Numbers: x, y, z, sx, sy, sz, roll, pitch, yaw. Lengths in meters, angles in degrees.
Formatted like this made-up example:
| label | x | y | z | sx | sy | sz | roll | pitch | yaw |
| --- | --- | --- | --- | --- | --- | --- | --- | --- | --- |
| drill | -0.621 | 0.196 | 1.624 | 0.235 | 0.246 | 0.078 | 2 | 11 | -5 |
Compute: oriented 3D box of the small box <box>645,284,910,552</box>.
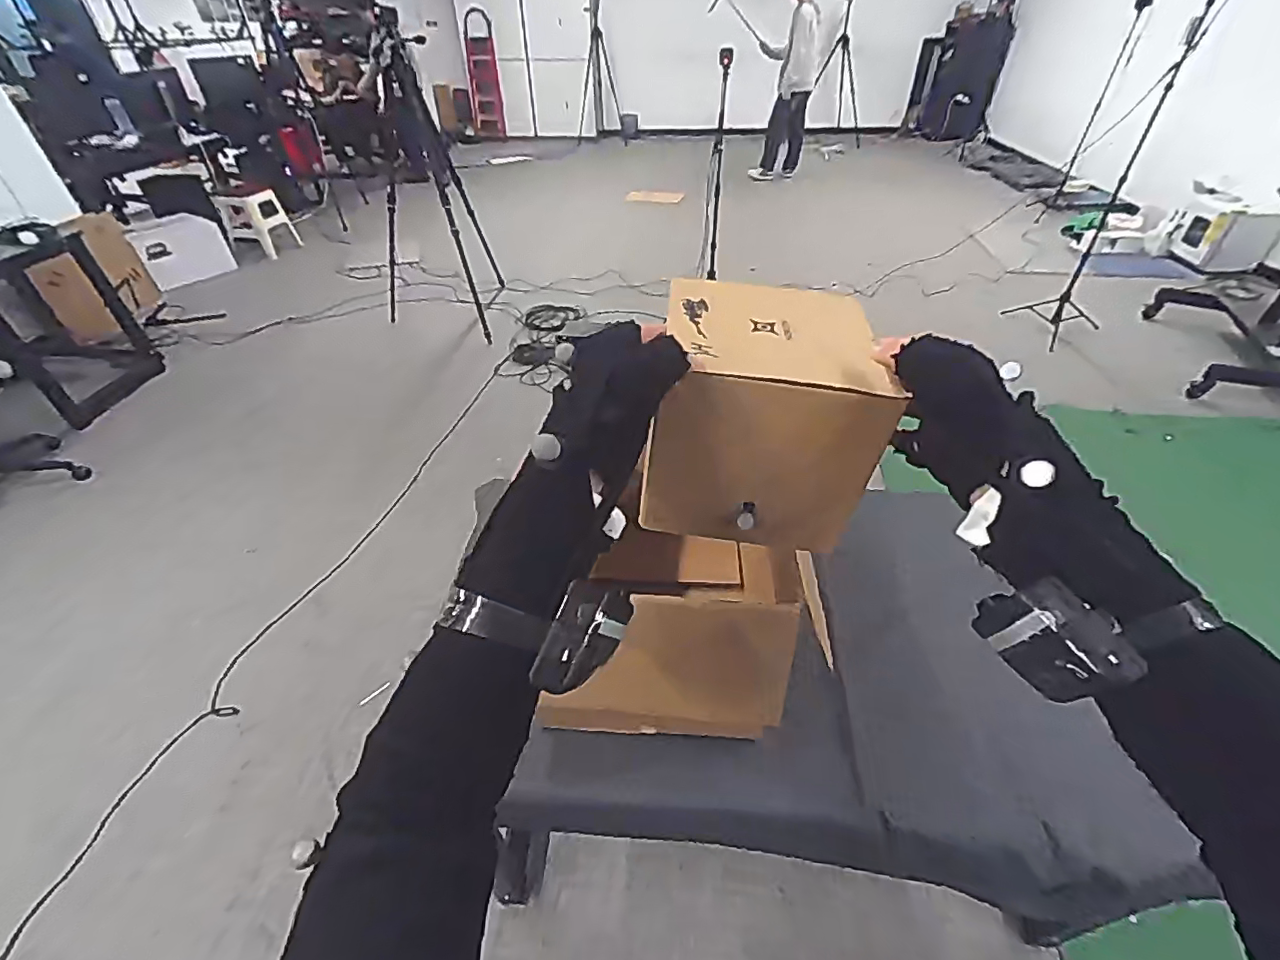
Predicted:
| label | x | y | z | sx | sy | sz | roll | pitch | yaw |
| --- | --- | --- | --- | --- | --- | --- | --- | --- | --- |
| small box | 0.106 | -0.054 | 0.492 | 0.179 | 0.176 | 0.168 | 8 | 42 | 0 |
